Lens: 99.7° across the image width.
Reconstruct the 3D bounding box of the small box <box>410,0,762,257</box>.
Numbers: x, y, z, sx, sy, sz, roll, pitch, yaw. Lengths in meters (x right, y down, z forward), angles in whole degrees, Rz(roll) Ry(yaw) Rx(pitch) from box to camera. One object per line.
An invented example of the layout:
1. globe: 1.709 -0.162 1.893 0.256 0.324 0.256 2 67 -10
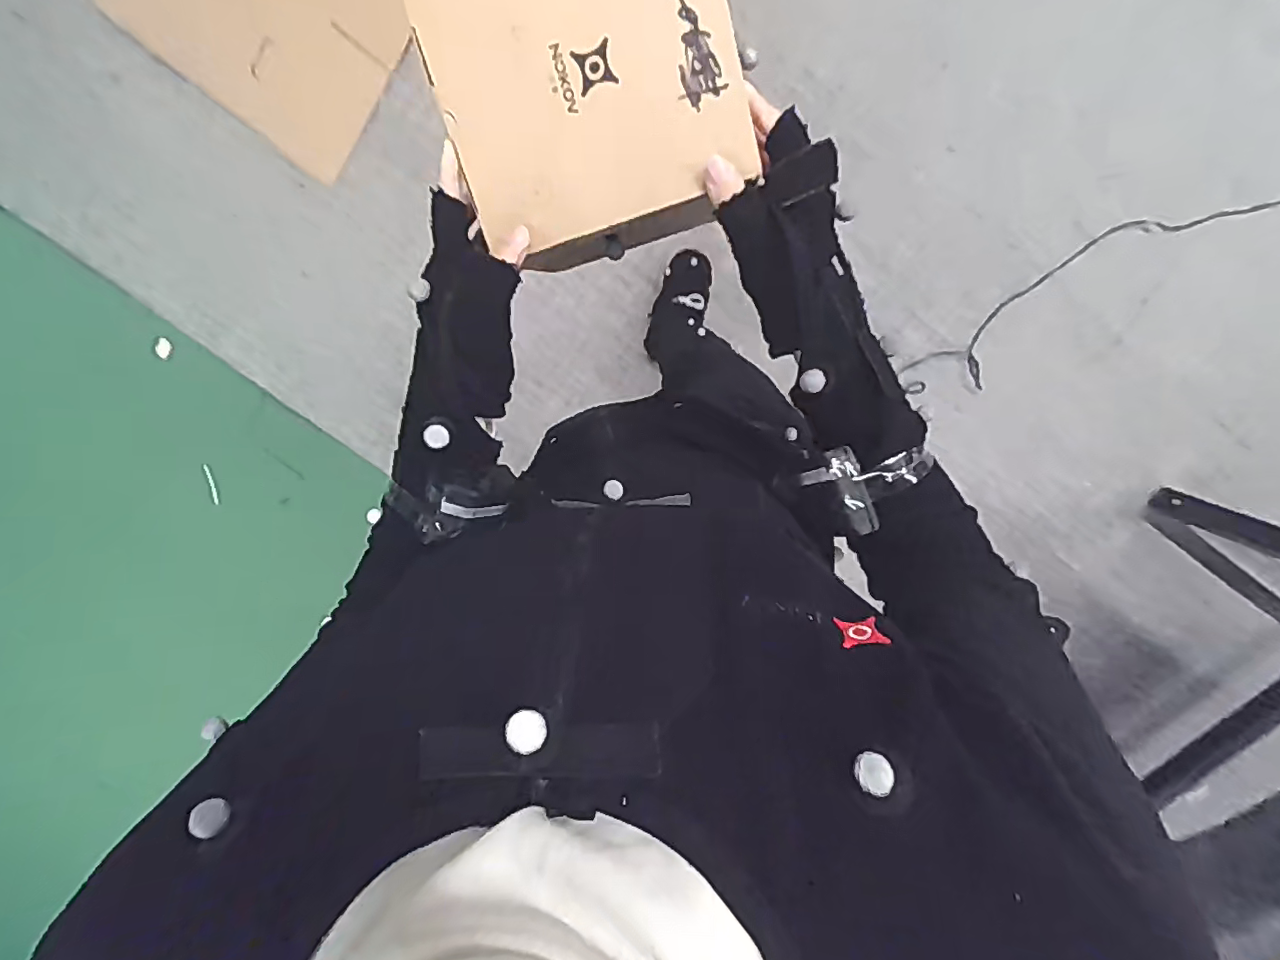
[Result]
1. small box: -0.026 -0.273 0.383 0.179 0.176 0.168 -17 104 10
